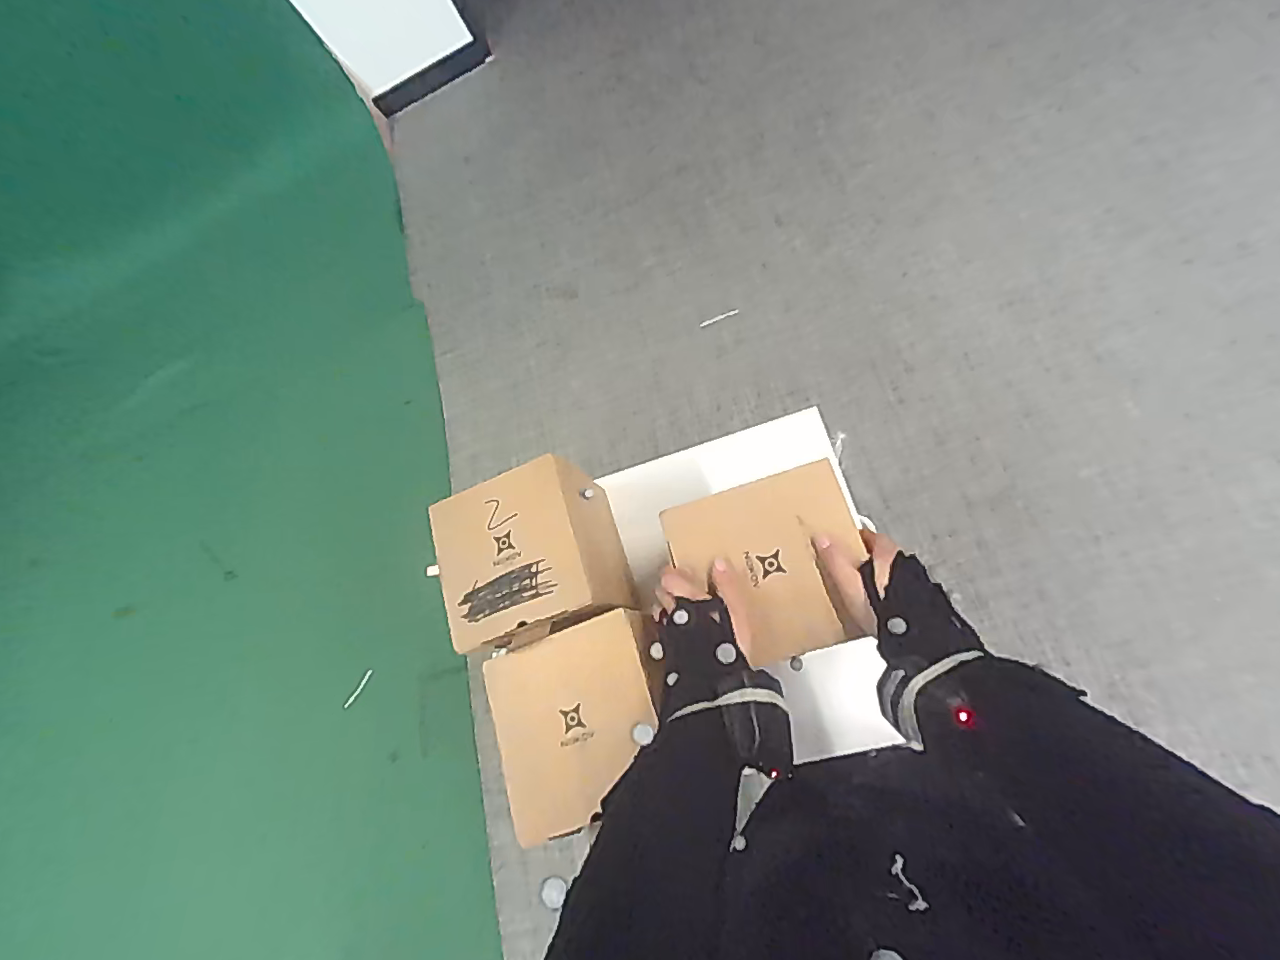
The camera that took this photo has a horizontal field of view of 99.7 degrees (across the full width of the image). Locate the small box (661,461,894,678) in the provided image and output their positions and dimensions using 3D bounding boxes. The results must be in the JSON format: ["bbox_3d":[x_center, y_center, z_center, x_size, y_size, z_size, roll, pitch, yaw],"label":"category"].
[{"bbox_3d":[0.142,0.102,0.574,0.179,0.176,0.168,-19,71,12],"label":"small box"}]
